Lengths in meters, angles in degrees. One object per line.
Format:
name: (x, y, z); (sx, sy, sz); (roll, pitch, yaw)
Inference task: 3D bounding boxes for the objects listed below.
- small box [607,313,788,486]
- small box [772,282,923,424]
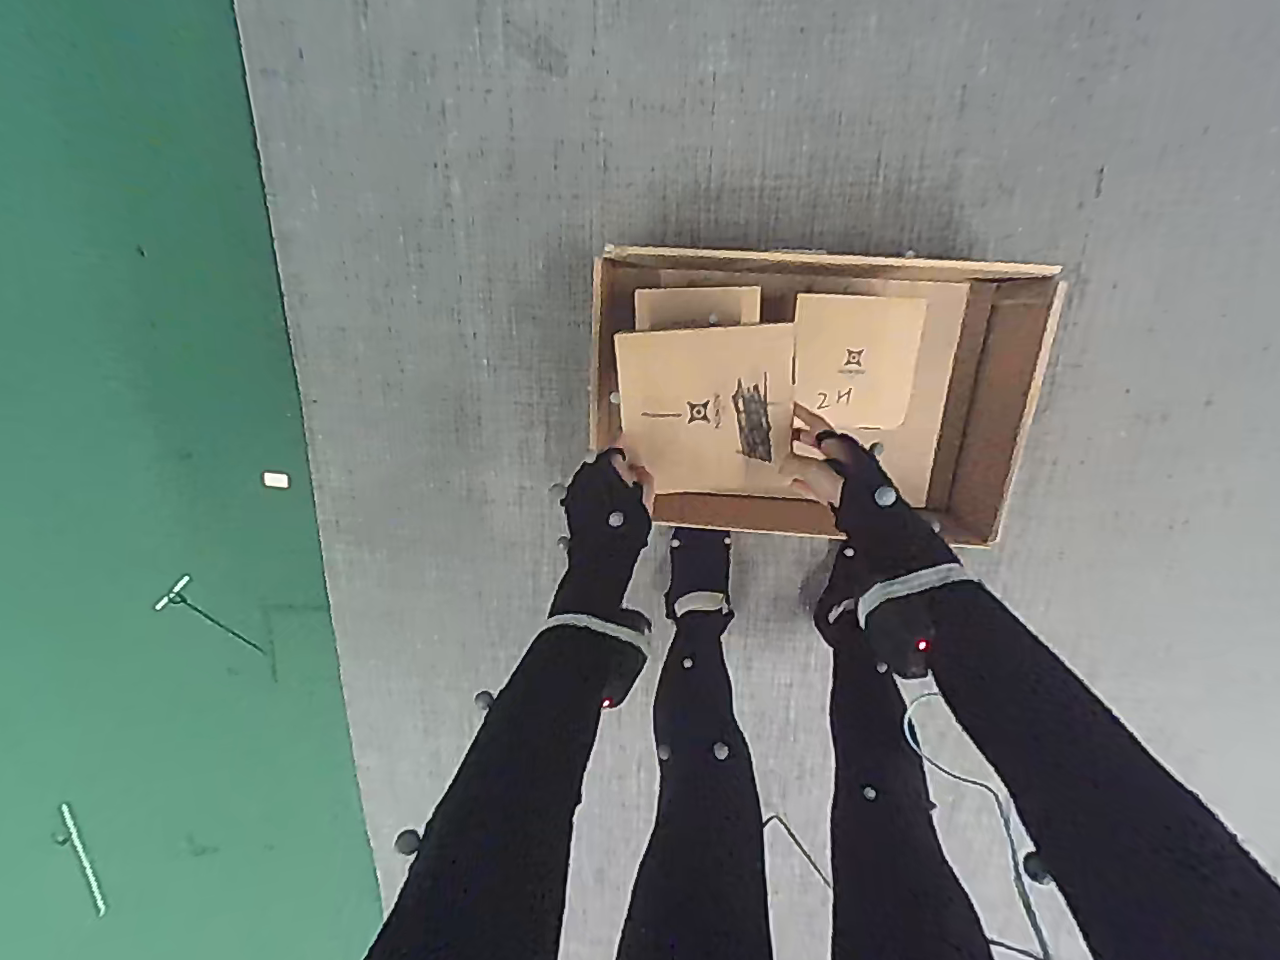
small box: (0.061, -0.099, 0.615); (0.179, 0.176, 0.168); (-3, 107, 4)
small box: (0.279, -0.188, 0.784); (0.168, 0.176, 0.179); (4, 109, 5)
